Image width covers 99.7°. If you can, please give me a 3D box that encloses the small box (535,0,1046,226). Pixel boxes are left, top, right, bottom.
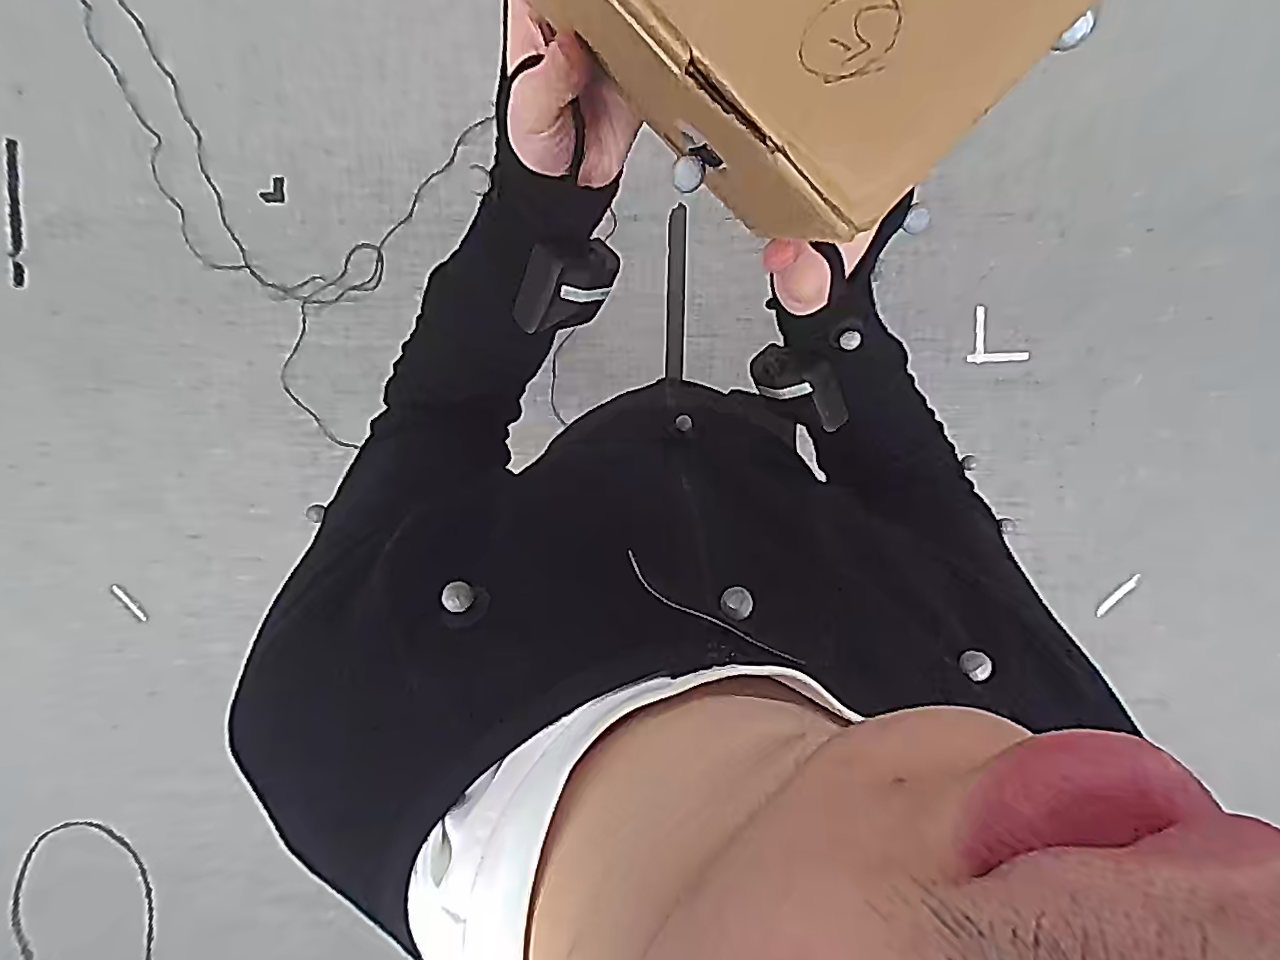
[{"bbox_3d":[0.052,-0.209,0.174,0.168,0.176,0.179,39,110,-15],"label":"small box"}]
